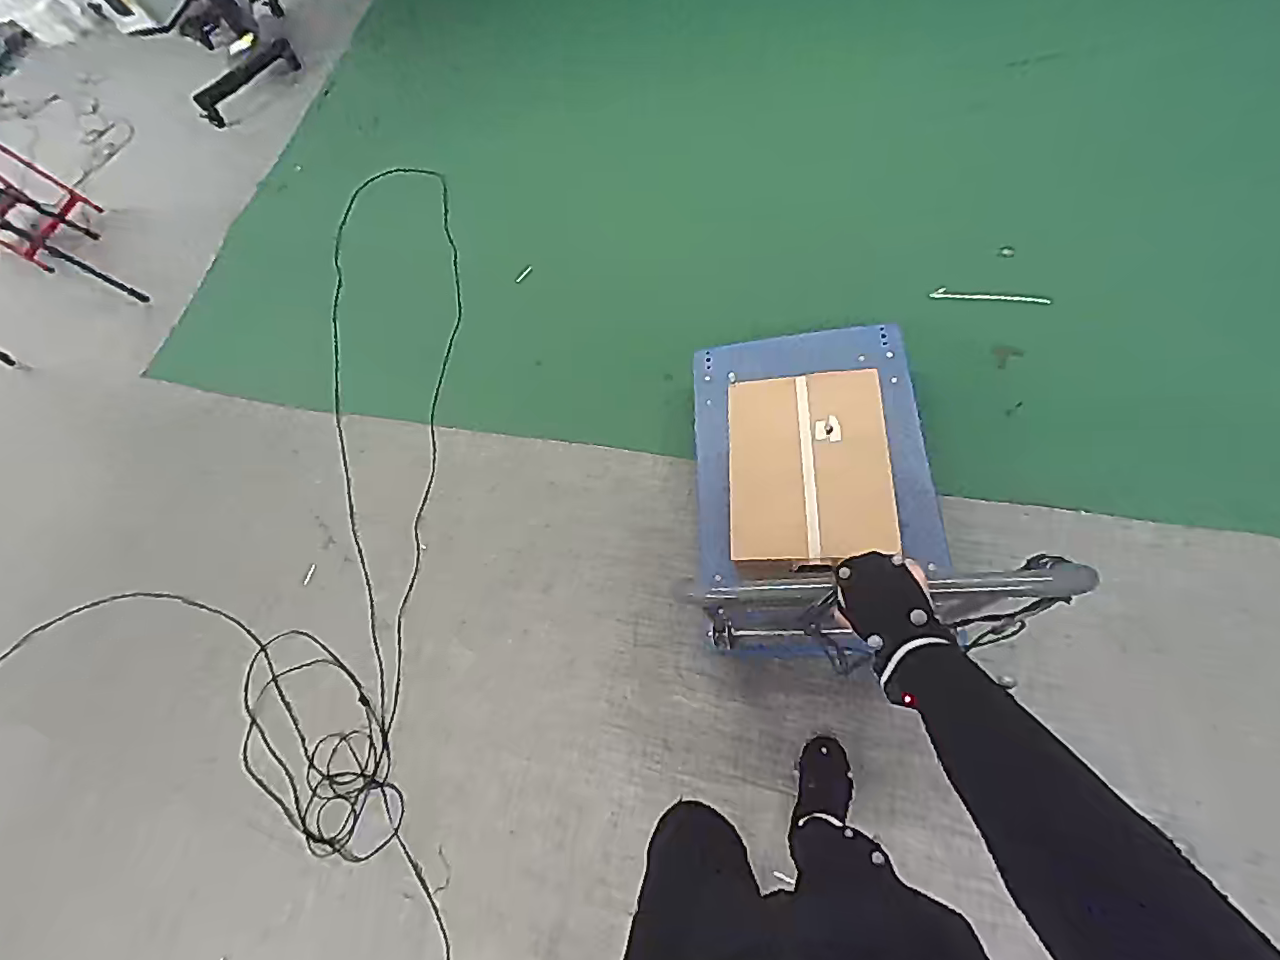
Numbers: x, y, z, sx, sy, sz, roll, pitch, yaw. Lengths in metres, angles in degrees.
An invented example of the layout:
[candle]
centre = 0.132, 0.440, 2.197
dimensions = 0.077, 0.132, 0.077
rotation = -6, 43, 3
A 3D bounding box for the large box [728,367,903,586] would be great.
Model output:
[large box]
centre = 0.374, 0.012, 1.219
dimensions = 0.320, 0.320, 0.408
rotation = -2, 68, 14
